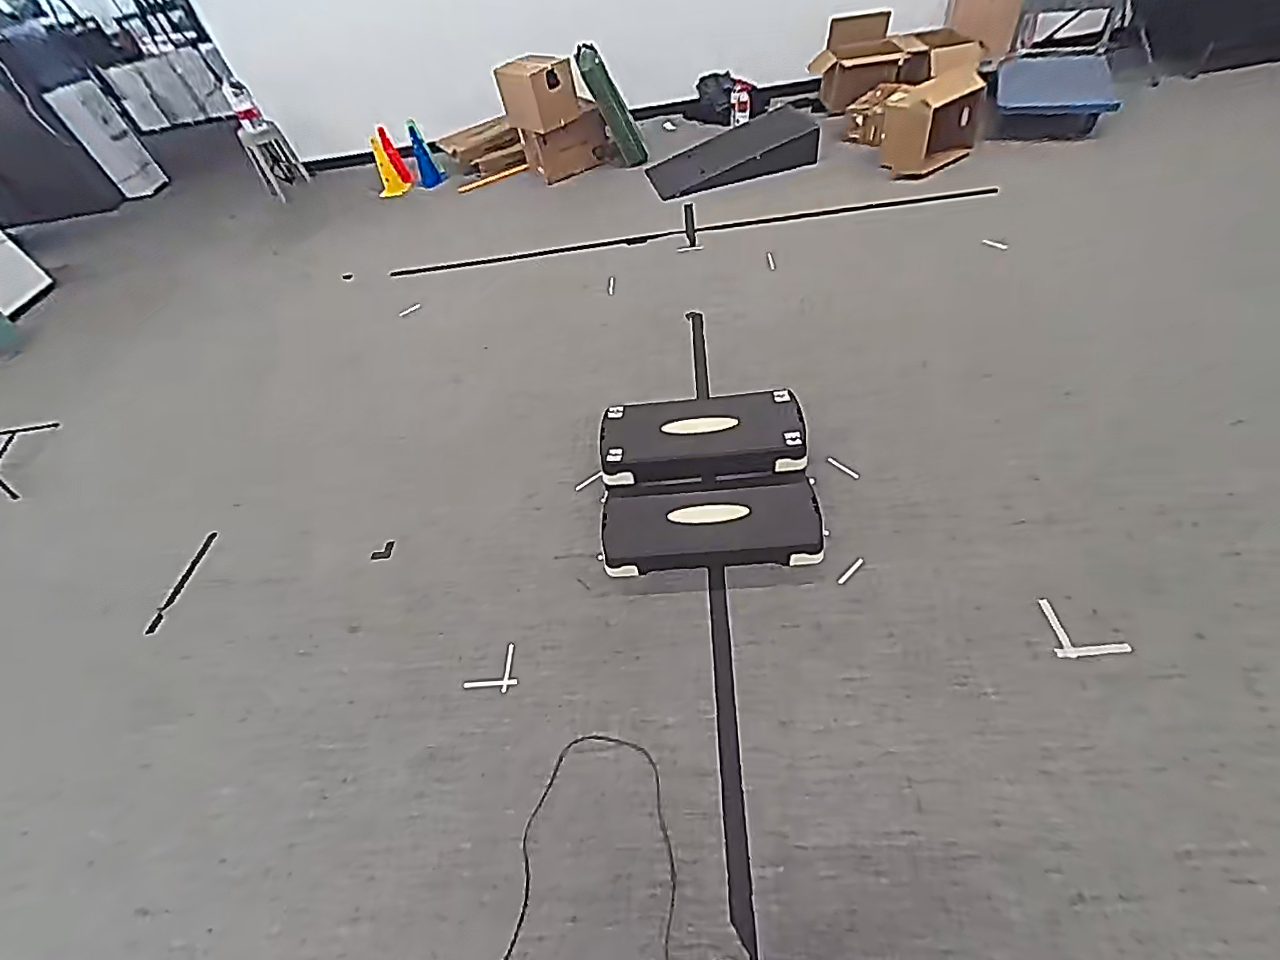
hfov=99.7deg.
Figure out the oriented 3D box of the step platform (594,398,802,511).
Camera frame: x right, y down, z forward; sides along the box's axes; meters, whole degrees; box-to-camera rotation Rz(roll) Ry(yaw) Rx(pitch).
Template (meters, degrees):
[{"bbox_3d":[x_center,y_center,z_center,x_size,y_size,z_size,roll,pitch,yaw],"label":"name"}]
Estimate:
[{"bbox_3d":[0.188,-0.088,1.819,0.684,0.204,0.286,-5,50,5],"label":"step platform"}]
